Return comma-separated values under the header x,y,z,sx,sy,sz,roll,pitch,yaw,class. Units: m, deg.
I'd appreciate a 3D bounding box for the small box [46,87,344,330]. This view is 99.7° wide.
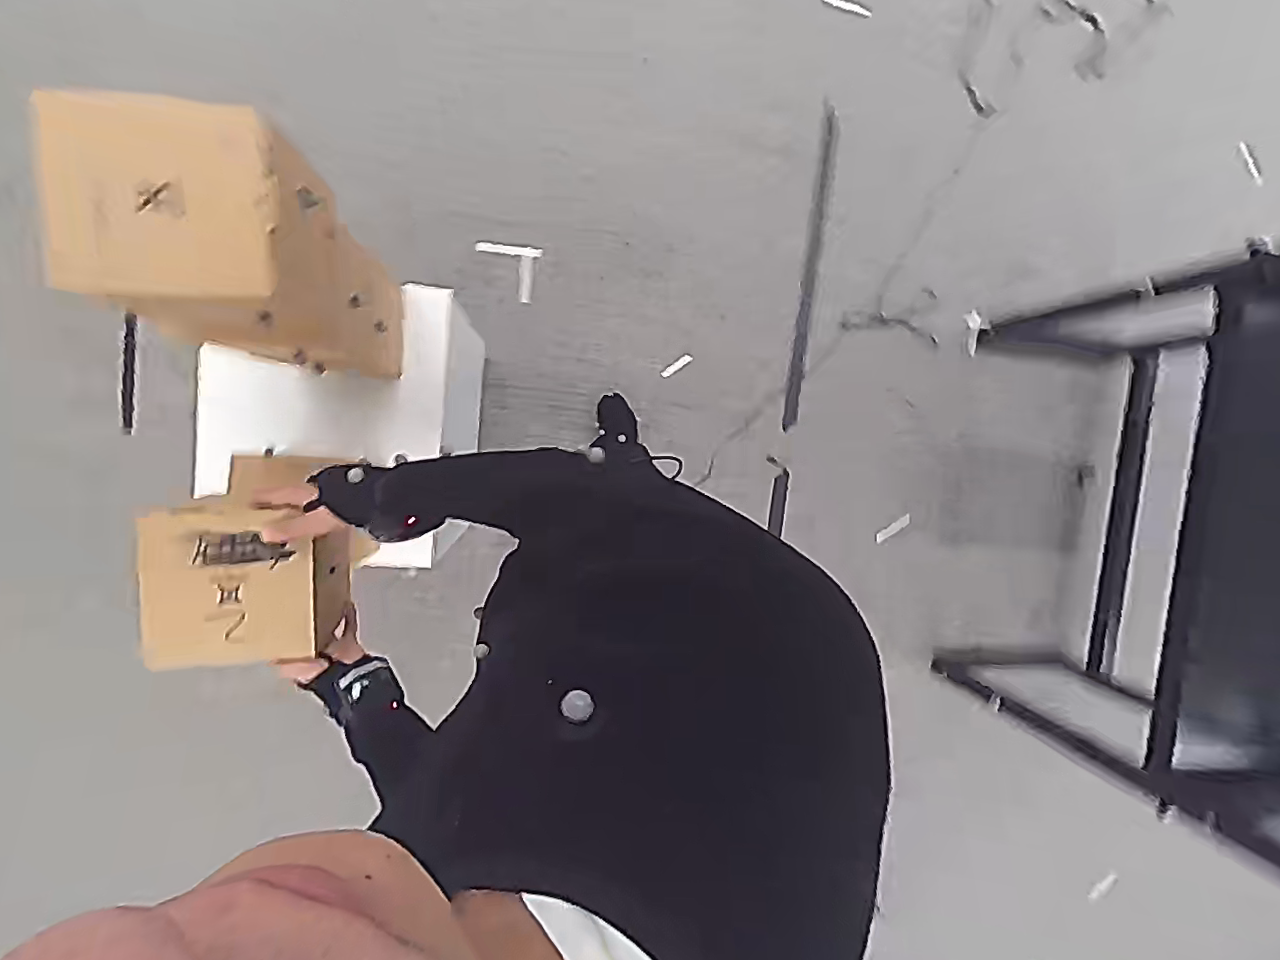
x,y,z,sx,sy,sz,roll,pitch,yaw,class
-0.416,-0.250,0.544,0.179,0.176,0.168,-1,95,-9,small box

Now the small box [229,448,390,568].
x,y,z,sx,sy,sz,roll,pitch,yaw,class
-0.526,0.038,0.886,0.179,0.176,0.168,6,93,-9,small box

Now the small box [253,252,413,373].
x,y,z,sx,sy,sz,roll,pitch,yaw,class
-0.481,-0.266,0.865,0.179,0.176,0.168,3,96,-9,small box

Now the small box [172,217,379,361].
x,y,z,sx,sy,sz,roll,pitch,yaw,class
-0.455,-0.252,0.703,0.179,0.176,0.168,4,95,-9,small box
